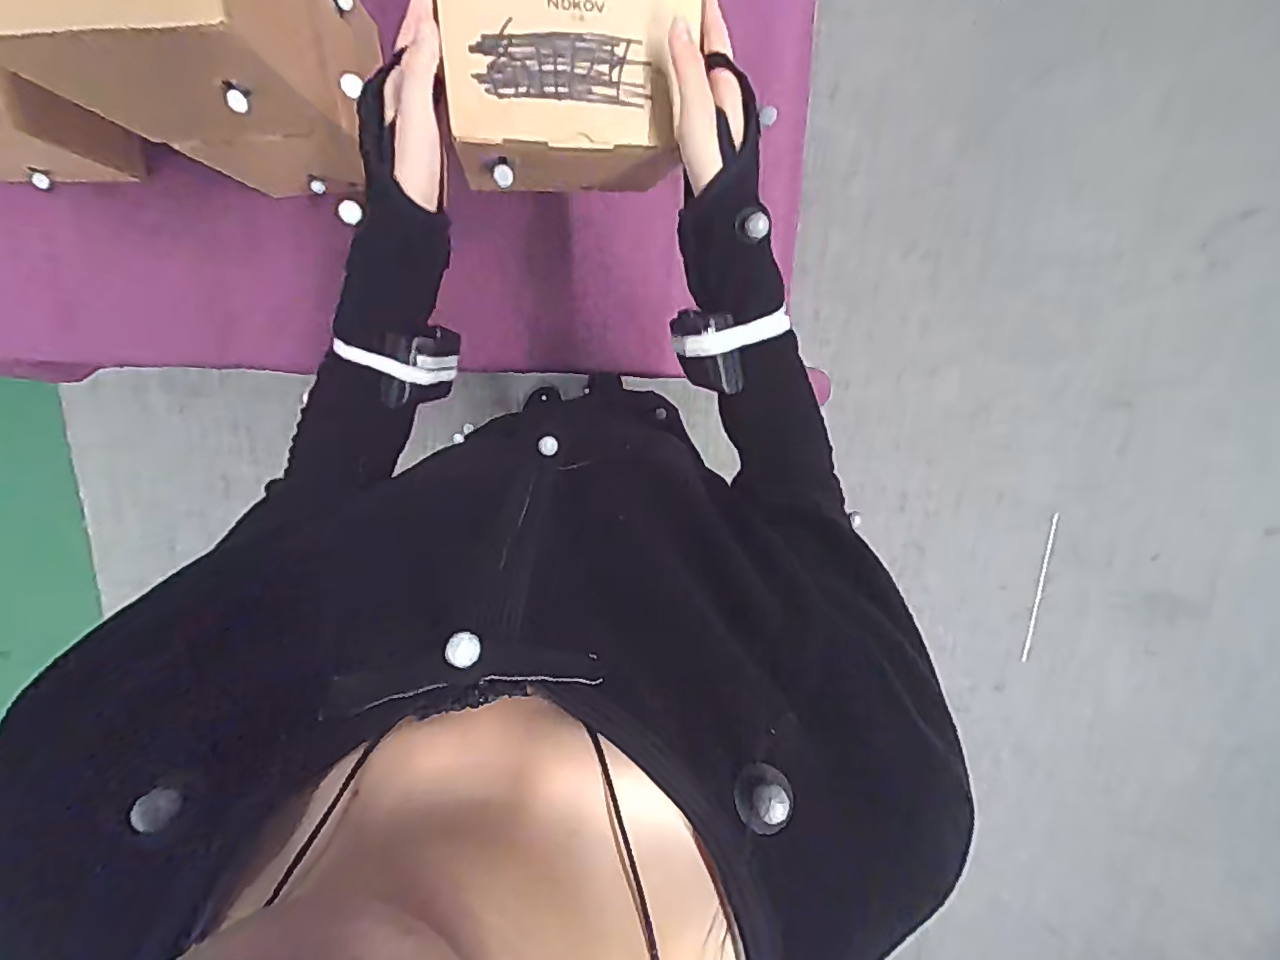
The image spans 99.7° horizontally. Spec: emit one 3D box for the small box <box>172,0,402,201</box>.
[{"bbox_3d":[-0.378,-0.421,0.578,0.168,0.176,0.179,-6,104,-2],"label":"small box"}]

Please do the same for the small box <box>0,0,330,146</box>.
[{"bbox_3d":[-0.370,-0.382,0.420,0.179,0.176,0.168,-5,102,-2],"label":"small box"}]

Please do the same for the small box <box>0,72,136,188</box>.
[{"bbox_3d":[-0.676,-0.416,0.557,0.179,0.176,0.168,-1,103,-4],"label":"small box"}]
